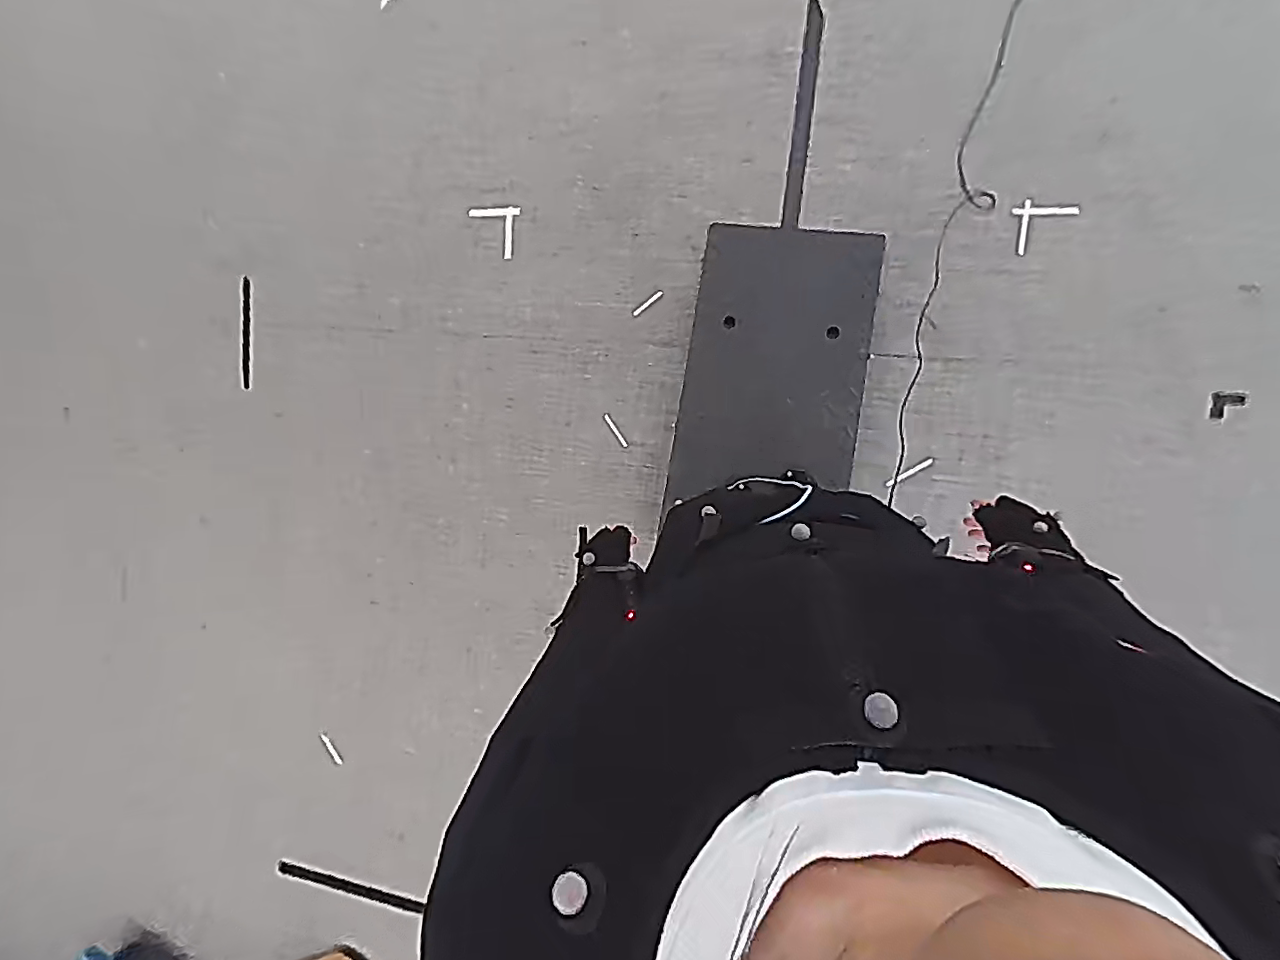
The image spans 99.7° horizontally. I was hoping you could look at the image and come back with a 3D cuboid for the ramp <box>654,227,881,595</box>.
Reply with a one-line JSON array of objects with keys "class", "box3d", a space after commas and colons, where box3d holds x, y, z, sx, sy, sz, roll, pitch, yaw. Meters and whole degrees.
[{"class": "ramp", "box3d": [0.351, -0.218, 1.501, 0.509, 0.206, 0.991, 7, 95, 12]}]
